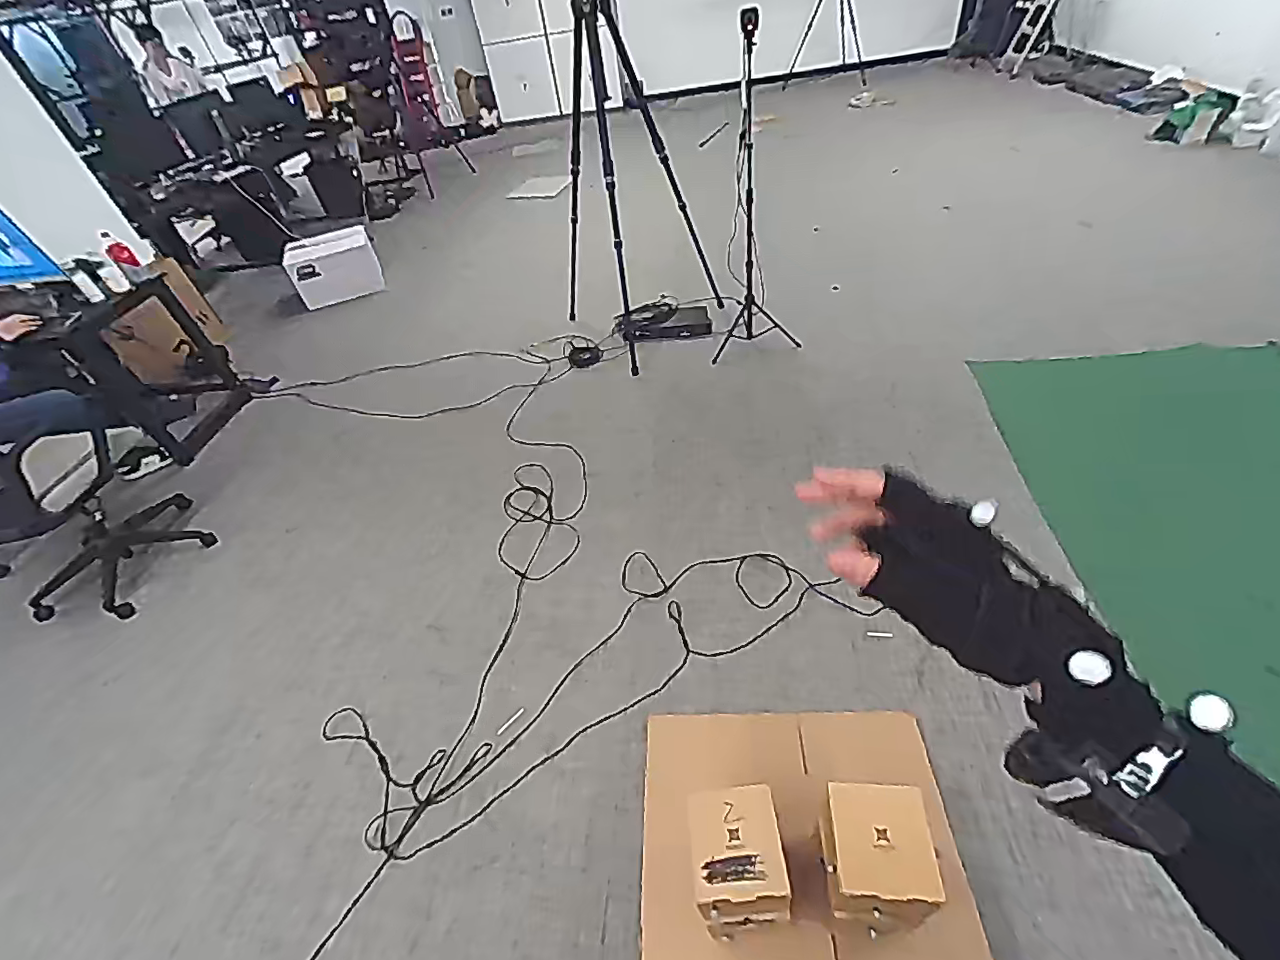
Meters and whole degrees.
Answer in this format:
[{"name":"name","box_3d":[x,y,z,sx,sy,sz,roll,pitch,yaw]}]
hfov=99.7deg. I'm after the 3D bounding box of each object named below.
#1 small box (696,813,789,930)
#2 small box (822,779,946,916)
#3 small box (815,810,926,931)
[{"name":"small box","box_3d":[0.213,0.828,1.138,0.168,0.176,0.179,-8,43,5]},{"name":"small box","box_3d":[0.439,0.682,1.007,0.168,0.176,0.179,-3,45,10]},{"name":"small box","box_3d":[0.462,0.803,1.114,0.168,0.176,0.179,-6,44,9]}]
